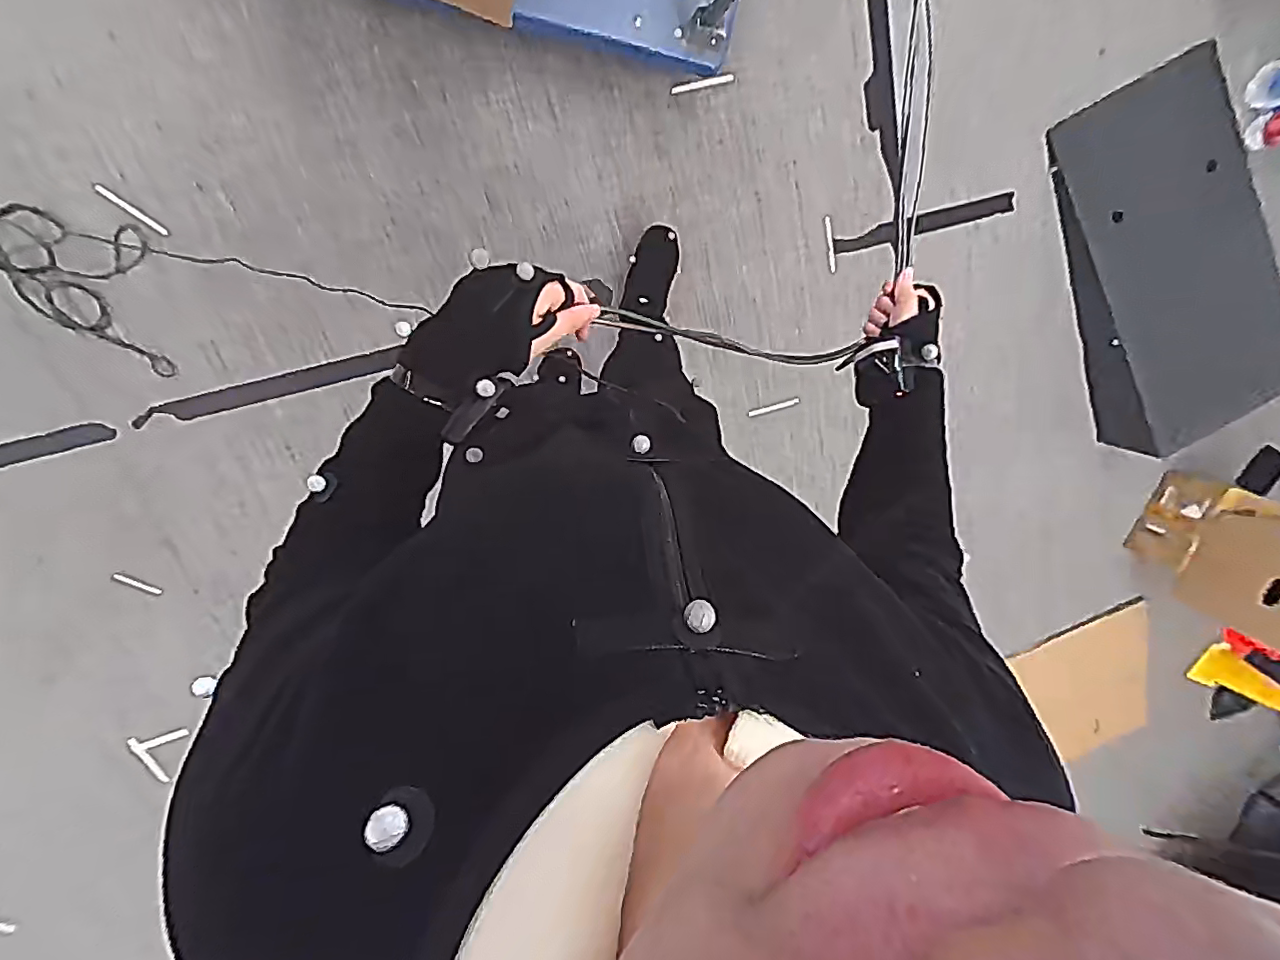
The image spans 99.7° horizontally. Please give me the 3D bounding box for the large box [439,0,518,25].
[{"bbox_3d":[-0.361,-0.960,0.773,0.408,0.320,0.320,11,105,-14],"label":"large box"}]
